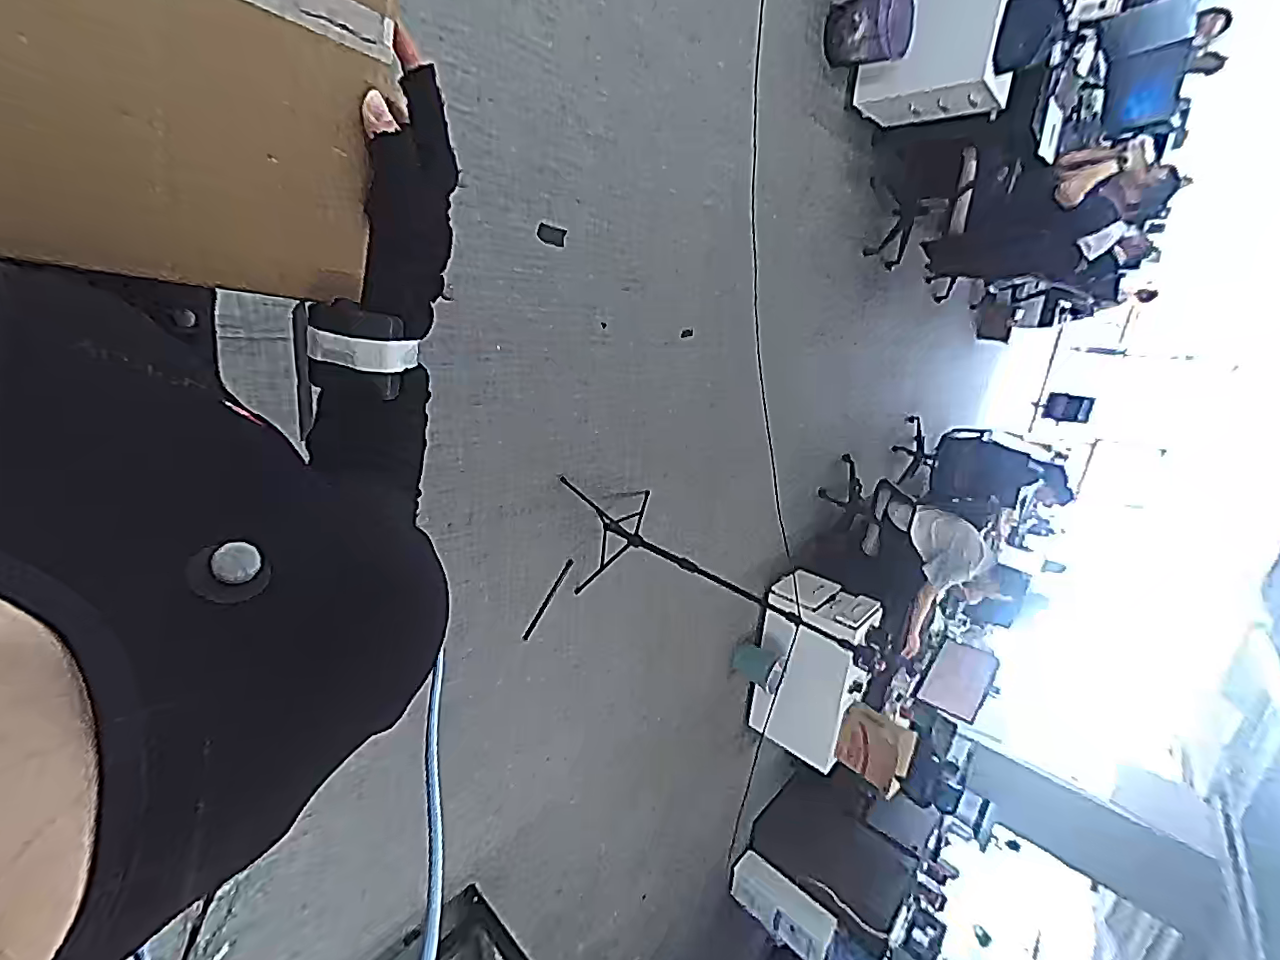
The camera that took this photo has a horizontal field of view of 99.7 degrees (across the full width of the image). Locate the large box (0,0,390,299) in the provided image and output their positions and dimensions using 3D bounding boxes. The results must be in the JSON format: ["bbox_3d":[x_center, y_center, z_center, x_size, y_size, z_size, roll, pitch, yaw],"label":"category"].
[{"bbox_3d":[-0.387,-0.323,0.273,0.408,0.320,0.320,-6,130,-43],"label":"large box"}]
